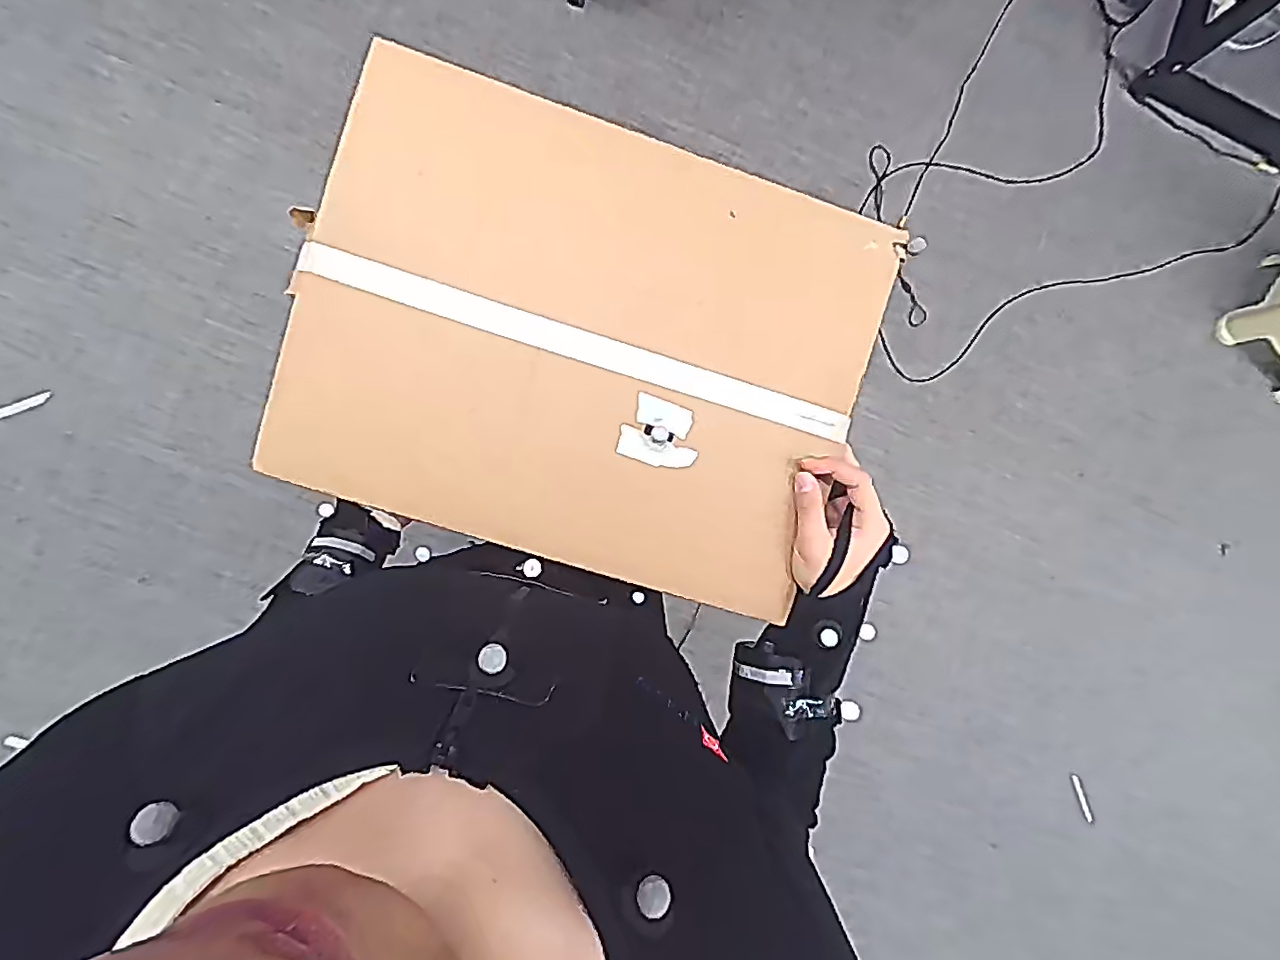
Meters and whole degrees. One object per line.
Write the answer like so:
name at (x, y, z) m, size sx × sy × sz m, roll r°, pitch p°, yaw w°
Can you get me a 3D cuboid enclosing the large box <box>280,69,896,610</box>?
large box at (-0.045, -0.101, 0.551) m, size 0.408 × 0.320 × 0.320 m, roll 17°, pitch 92°, yaw -6°
